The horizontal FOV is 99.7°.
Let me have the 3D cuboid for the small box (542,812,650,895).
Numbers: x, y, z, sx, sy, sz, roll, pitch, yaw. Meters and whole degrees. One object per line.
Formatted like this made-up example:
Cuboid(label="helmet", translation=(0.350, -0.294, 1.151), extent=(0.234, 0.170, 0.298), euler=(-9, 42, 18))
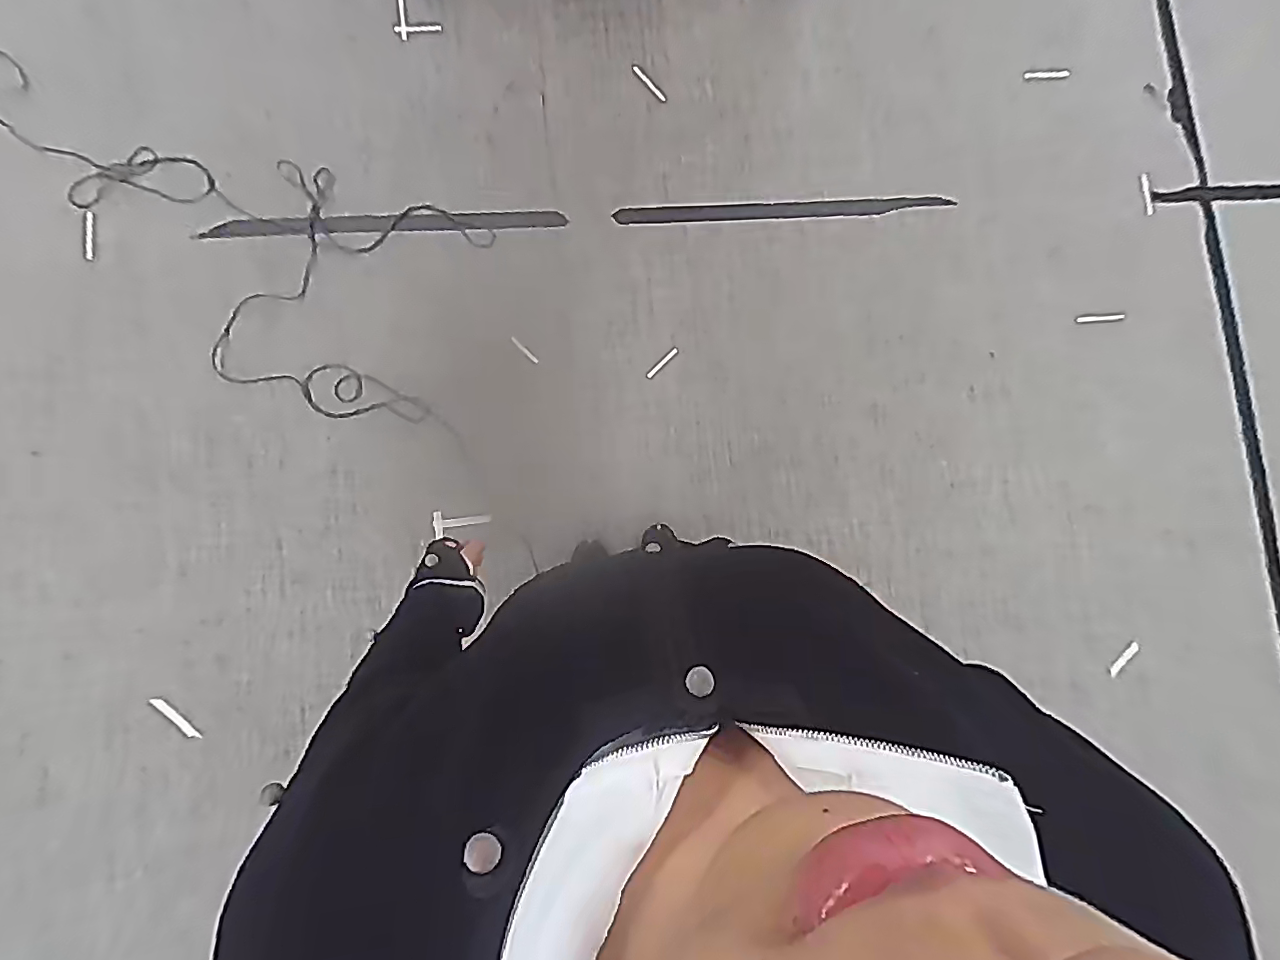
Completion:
Cuboid(label="small box", translation=(-0.065, 0.684, 0.888), extent=(0.168, 0.176, 0.179), euler=(-5, 82, -4))
